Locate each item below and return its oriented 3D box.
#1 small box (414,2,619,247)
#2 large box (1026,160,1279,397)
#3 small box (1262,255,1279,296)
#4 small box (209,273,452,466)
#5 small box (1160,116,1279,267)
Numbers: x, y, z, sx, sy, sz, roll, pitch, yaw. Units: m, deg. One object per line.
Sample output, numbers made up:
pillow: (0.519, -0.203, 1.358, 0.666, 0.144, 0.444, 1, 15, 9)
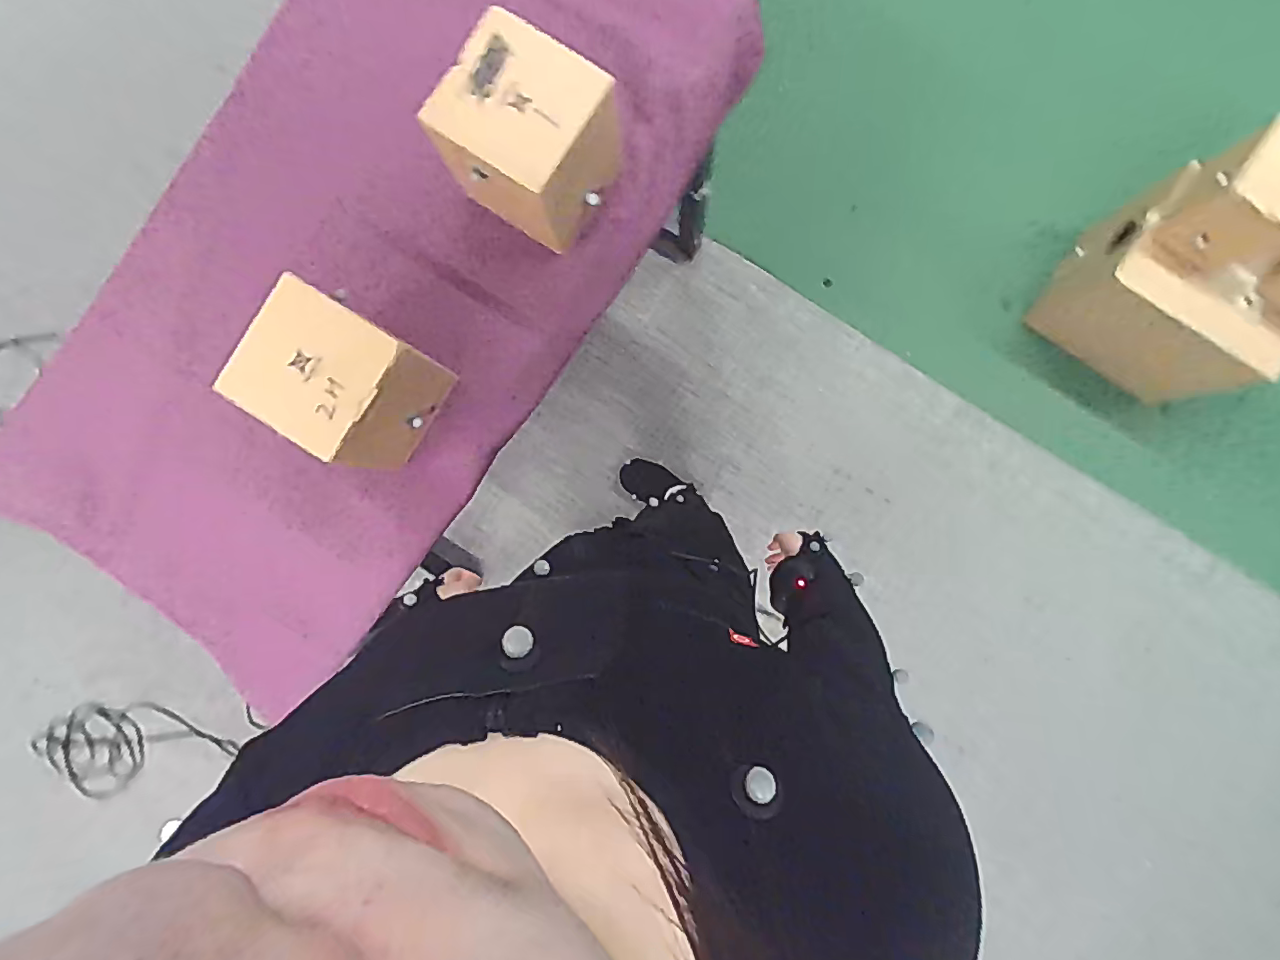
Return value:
small box: (-0.145, -0.441, 0.703, 0.179, 0.176, 0.168, 33, 90, 3)
large box: (1.272, -0.454, 1.301, 0.408, 0.320, 0.320, 34, 91, 2)
small box: (1.410, -0.426, 1.048, 0.179, 0.176, 0.168, 39, 90, 3)
small box: (-0.385, -0.127, 0.704, 0.179, 0.176, 0.168, 32, 91, 5)
small box: (1.203, -0.563, 1.064, 0.168, 0.176, 0.179, 35, 90, 2)
